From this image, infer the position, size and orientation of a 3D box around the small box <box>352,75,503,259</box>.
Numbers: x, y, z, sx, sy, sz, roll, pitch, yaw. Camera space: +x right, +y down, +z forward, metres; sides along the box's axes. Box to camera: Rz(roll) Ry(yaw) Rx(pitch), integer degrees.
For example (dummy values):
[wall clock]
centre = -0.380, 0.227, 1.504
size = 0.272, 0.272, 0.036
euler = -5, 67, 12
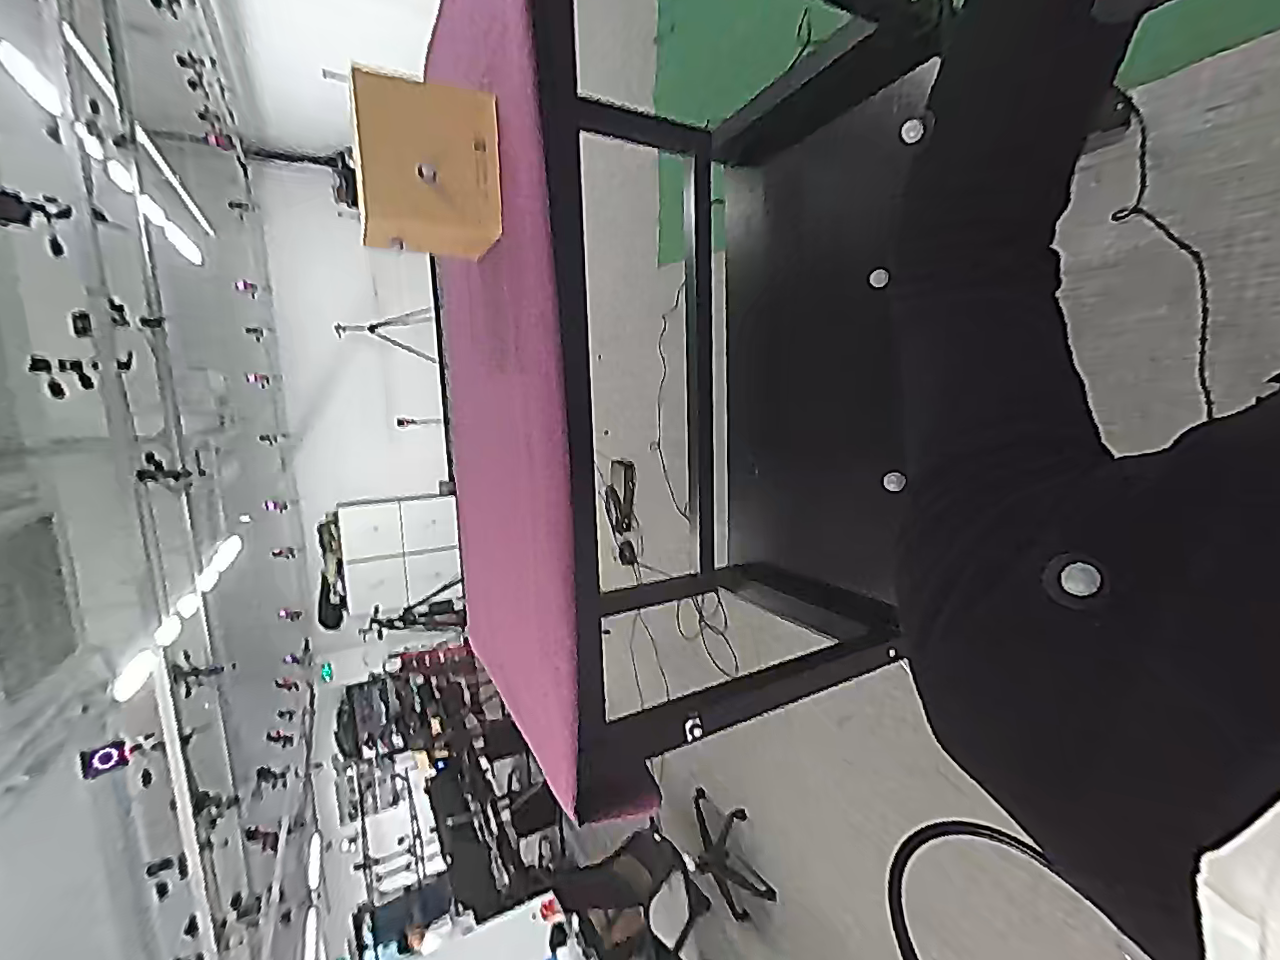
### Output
[small box]
centre = -0.286, -0.407, 0.737
size = 0.179, 0.176, 0.168
euler = 20, 113, 61
